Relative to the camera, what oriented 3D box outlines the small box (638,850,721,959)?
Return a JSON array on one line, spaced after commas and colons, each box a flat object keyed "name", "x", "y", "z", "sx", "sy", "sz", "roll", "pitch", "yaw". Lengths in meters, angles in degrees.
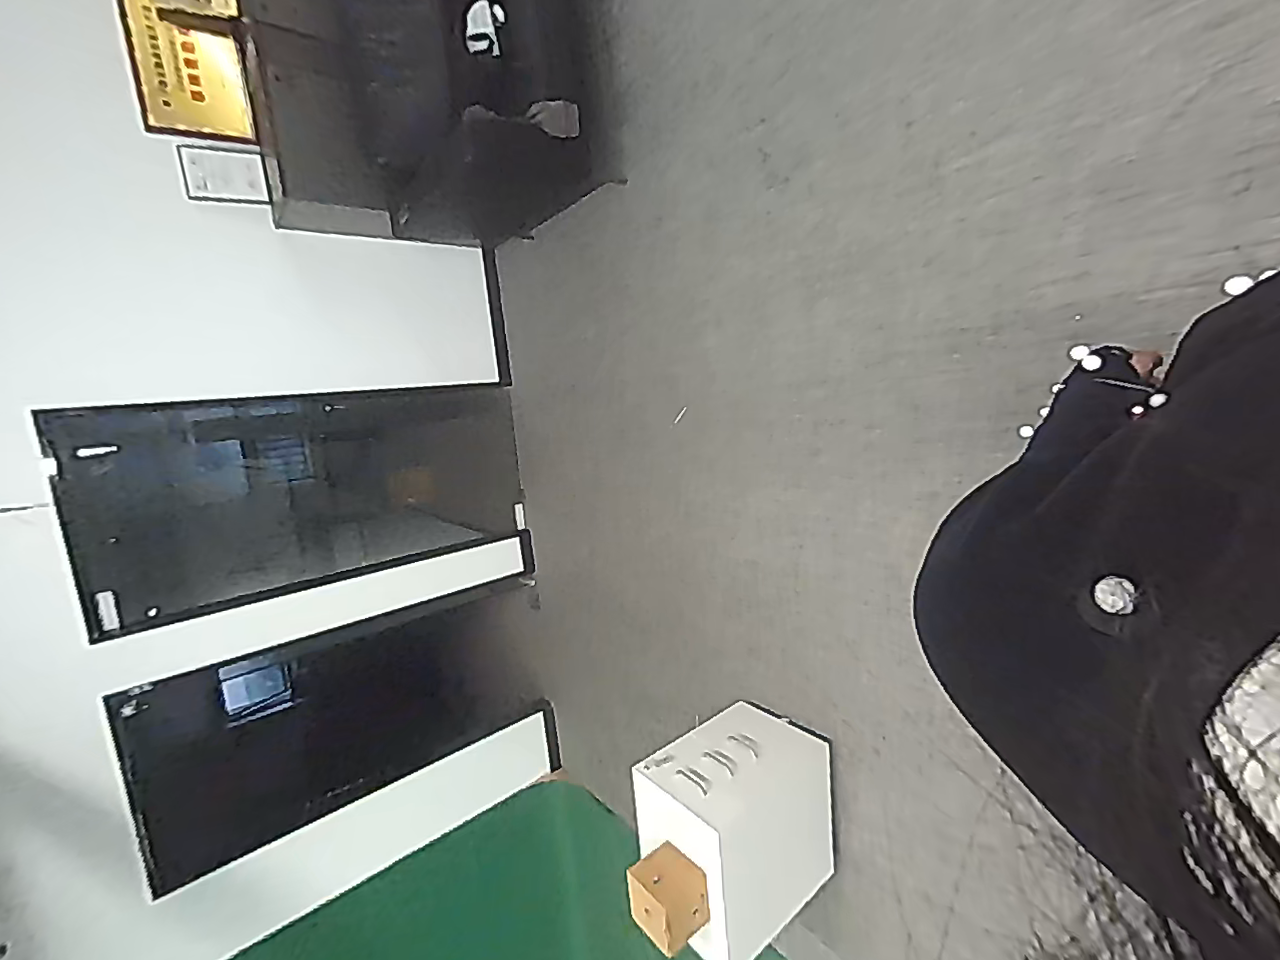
[{"name": "small box", "x": 0.116, "y": 1.241, "z": 1.595, "sx": 0.179, "sy": 0.176, "sz": 0.168, "roll": 3, "pitch": 102, "yaw": 52}]
